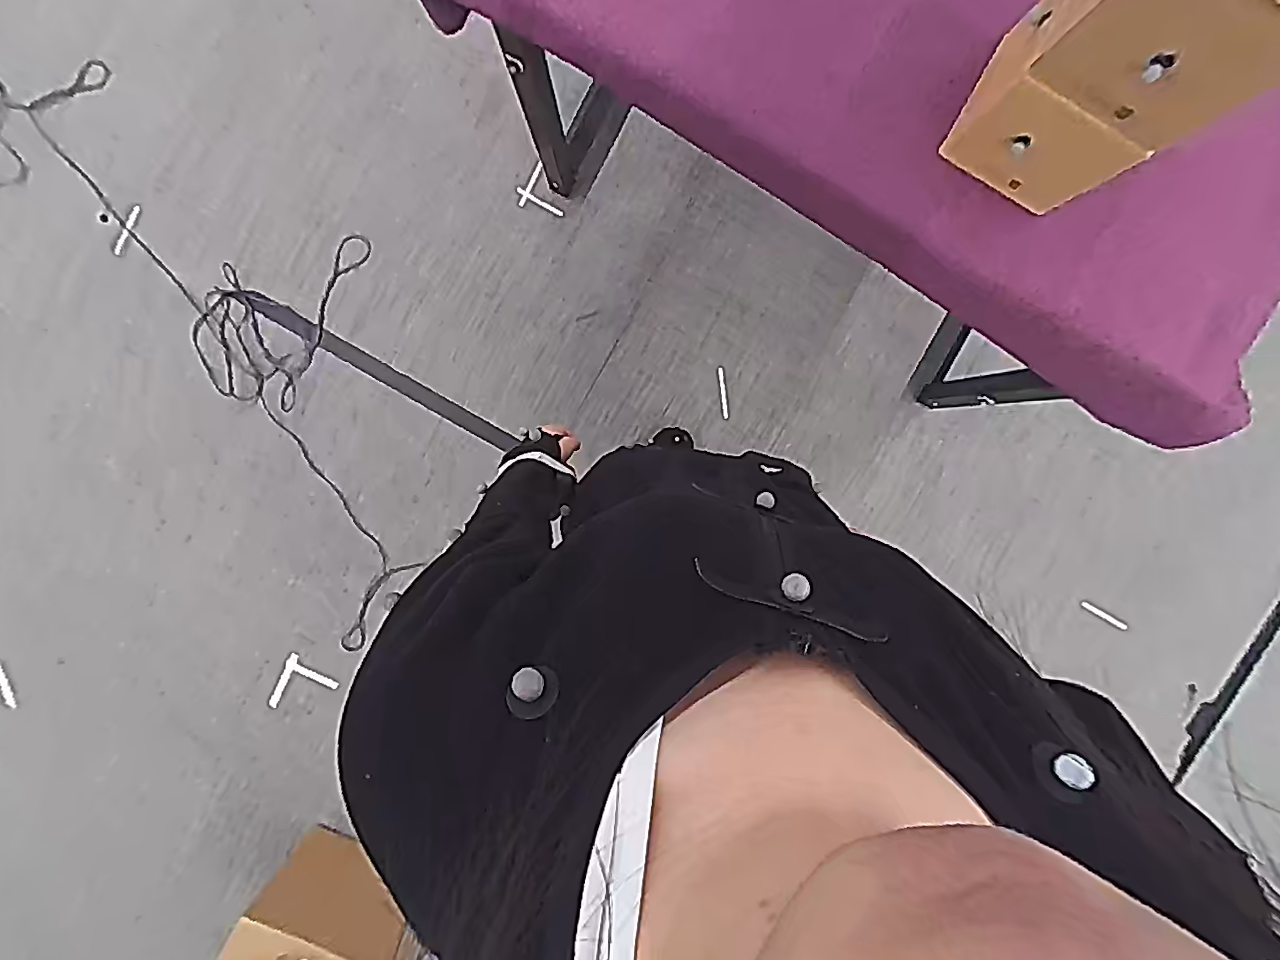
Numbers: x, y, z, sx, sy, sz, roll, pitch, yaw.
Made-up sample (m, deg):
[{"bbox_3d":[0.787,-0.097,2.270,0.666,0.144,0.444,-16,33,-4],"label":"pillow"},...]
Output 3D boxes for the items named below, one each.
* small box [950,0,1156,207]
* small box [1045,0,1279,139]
[{"bbox_3d":[0.514,-0.469,0.647,0.168,0.176,0.179,29,94,-3],"label":"small box"},{"bbox_3d":[0.519,-0.458,0.483,0.168,0.176,0.179,30,94,-3],"label":"small box"}]
